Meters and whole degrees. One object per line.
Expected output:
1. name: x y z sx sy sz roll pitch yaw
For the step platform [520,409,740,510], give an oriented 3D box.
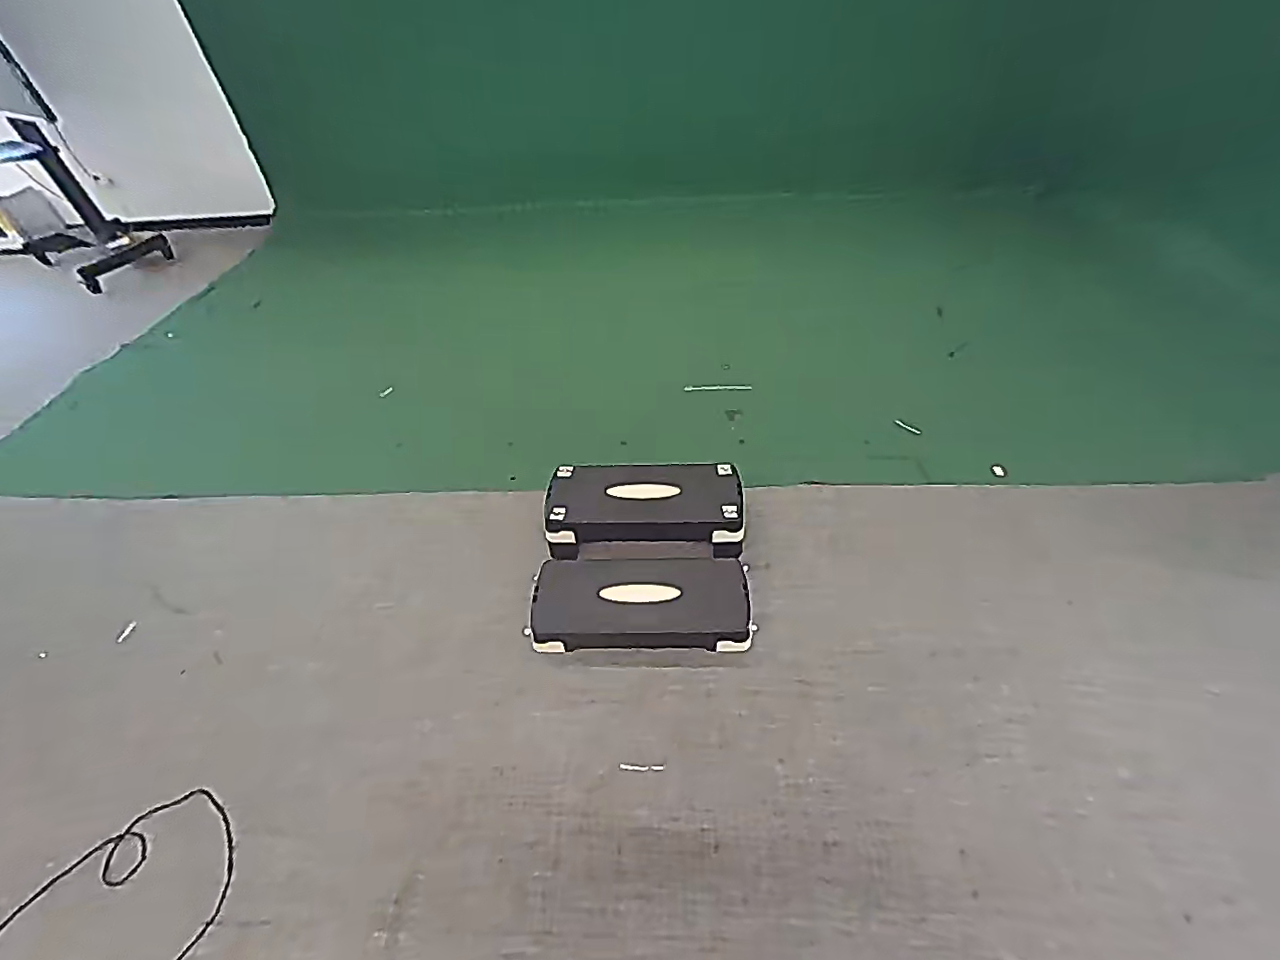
1. step platform: -0.028 -0.065 1.755 0.684 0.204 0.286 -1 45 4
